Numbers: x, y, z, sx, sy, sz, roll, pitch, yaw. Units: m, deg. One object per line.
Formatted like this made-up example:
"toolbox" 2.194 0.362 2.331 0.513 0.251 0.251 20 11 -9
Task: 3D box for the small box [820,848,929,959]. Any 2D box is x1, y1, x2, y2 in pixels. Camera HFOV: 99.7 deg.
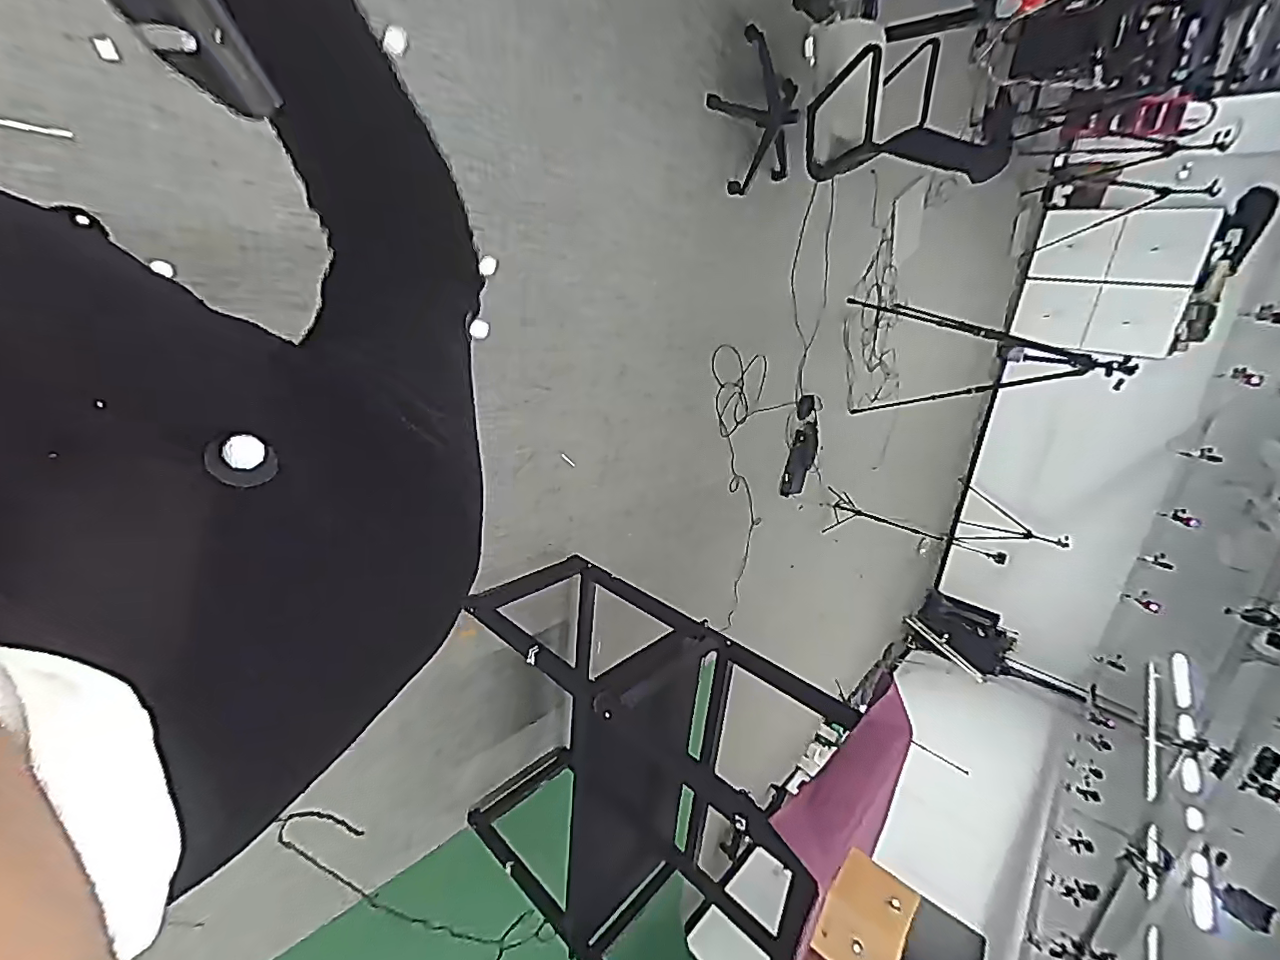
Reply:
"small box" 0.534 1.008 1.241 0.179 0.176 0.168 -11 115 -49
